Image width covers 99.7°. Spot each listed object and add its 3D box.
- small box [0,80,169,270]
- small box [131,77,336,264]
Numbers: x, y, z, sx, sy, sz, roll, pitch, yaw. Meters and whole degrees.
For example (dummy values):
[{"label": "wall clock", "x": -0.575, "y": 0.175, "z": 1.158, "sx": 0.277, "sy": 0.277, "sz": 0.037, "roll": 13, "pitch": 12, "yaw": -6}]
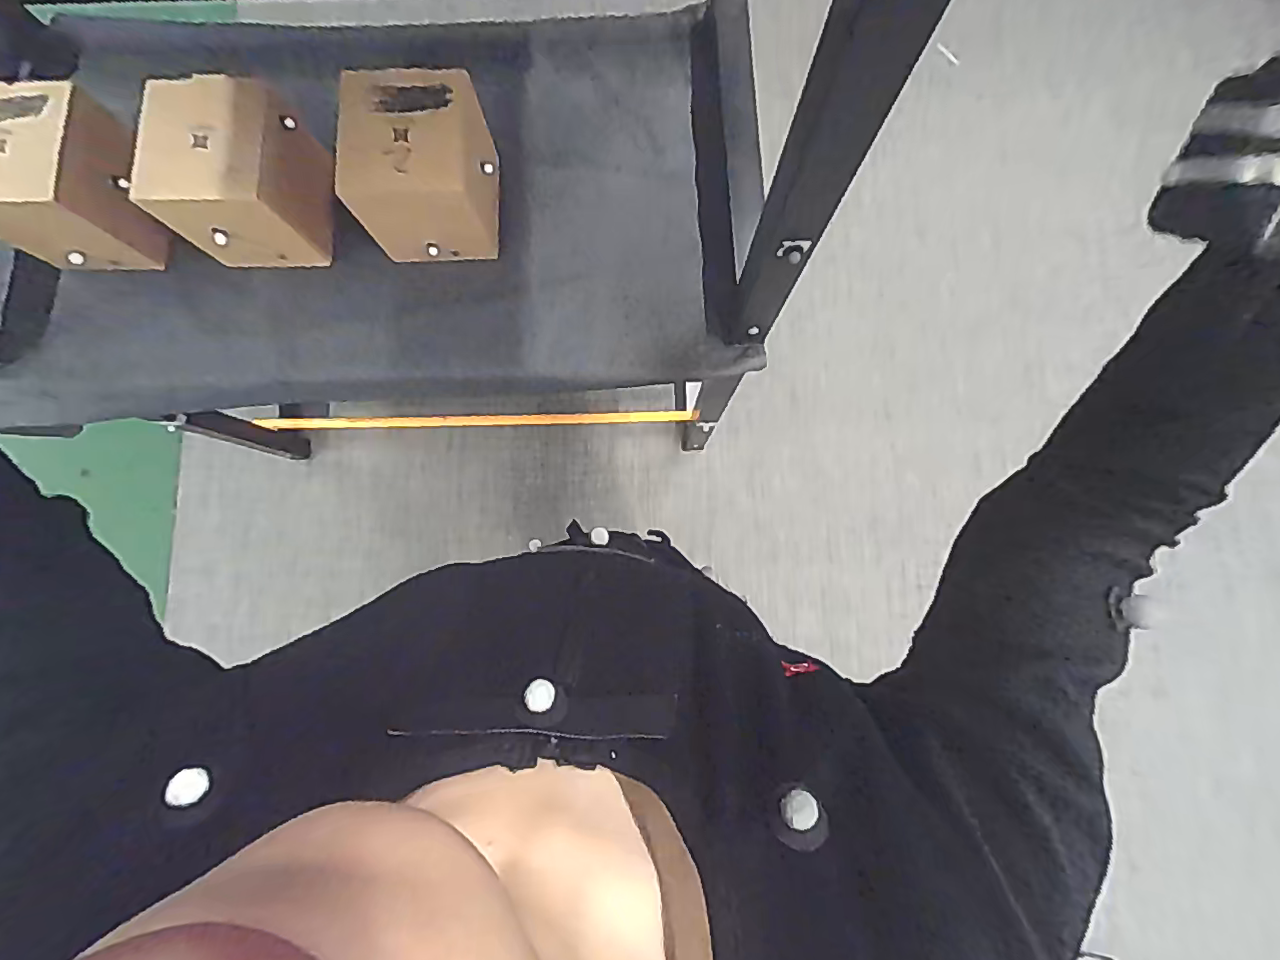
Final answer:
[{"label": "small box", "x": -0.817, "y": -0.425, "z": 0.771, "sx": 0.168, "sy": 0.176, "sz": 0.179, "roll": 0, "pitch": 82, "yaw": 0}, {"label": "small box", "x": -0.564, "y": -0.429, "z": 0.774, "sx": 0.168, "sy": 0.176, "sz": 0.179, "roll": -1, "pitch": 82, "yaw": 0}]
